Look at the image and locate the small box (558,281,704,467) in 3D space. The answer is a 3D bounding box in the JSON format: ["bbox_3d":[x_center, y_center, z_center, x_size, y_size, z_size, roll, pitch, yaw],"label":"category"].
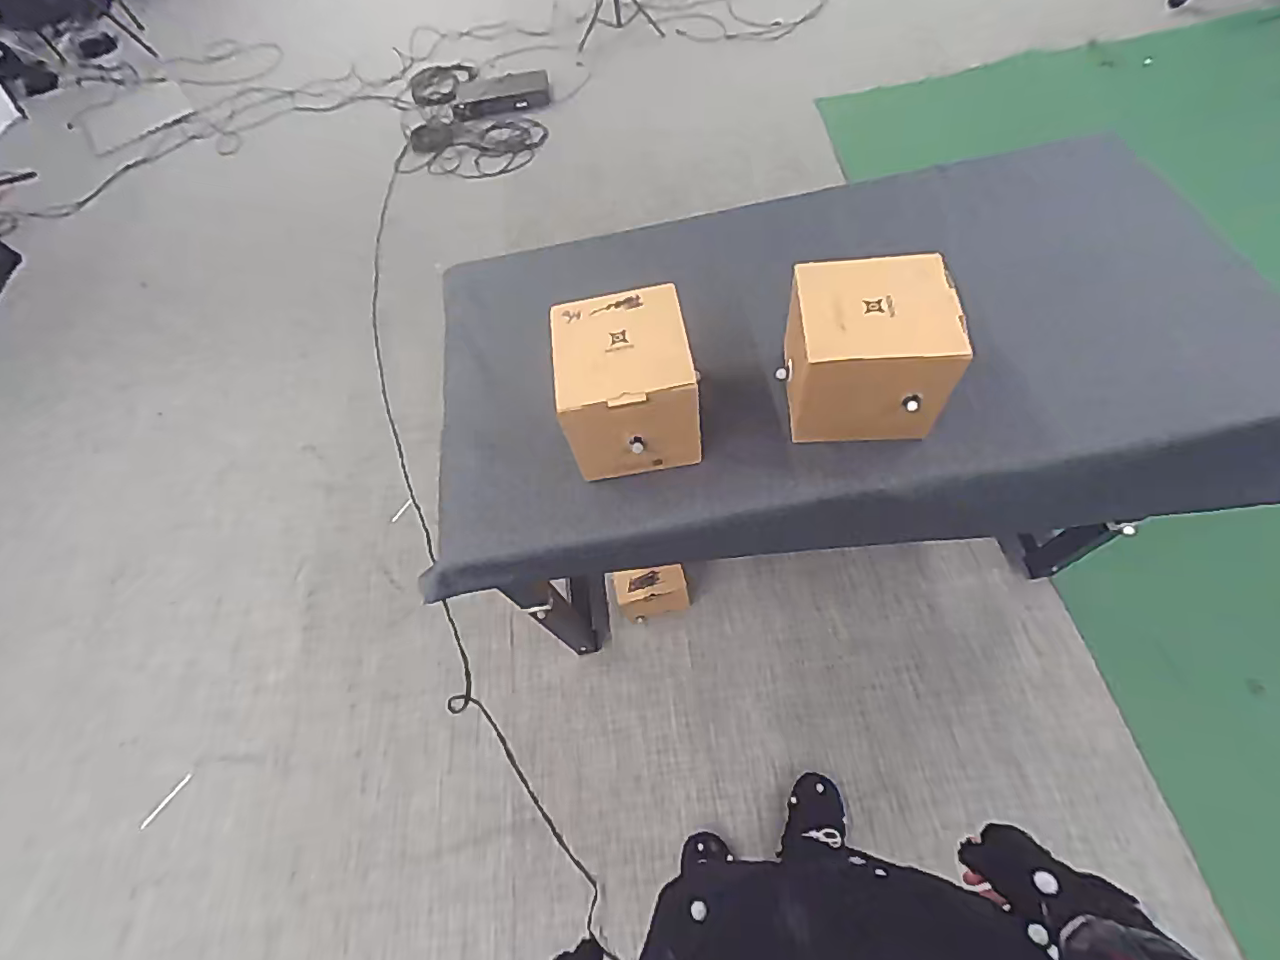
[{"bbox_3d":[-0.008,-0.131,0.728,0.168,0.176,0.179,-9,61,3],"label":"small box"}]

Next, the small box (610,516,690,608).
[{"bbox_3d":[0.030,0.215,1.373,0.168,0.176,0.179,-13,61,1],"label":"small box"}]

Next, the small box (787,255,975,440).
[{"bbox_3d":[0.295,-0.164,0.705,0.179,0.176,0.168,-1,61,9],"label":"small box"}]
